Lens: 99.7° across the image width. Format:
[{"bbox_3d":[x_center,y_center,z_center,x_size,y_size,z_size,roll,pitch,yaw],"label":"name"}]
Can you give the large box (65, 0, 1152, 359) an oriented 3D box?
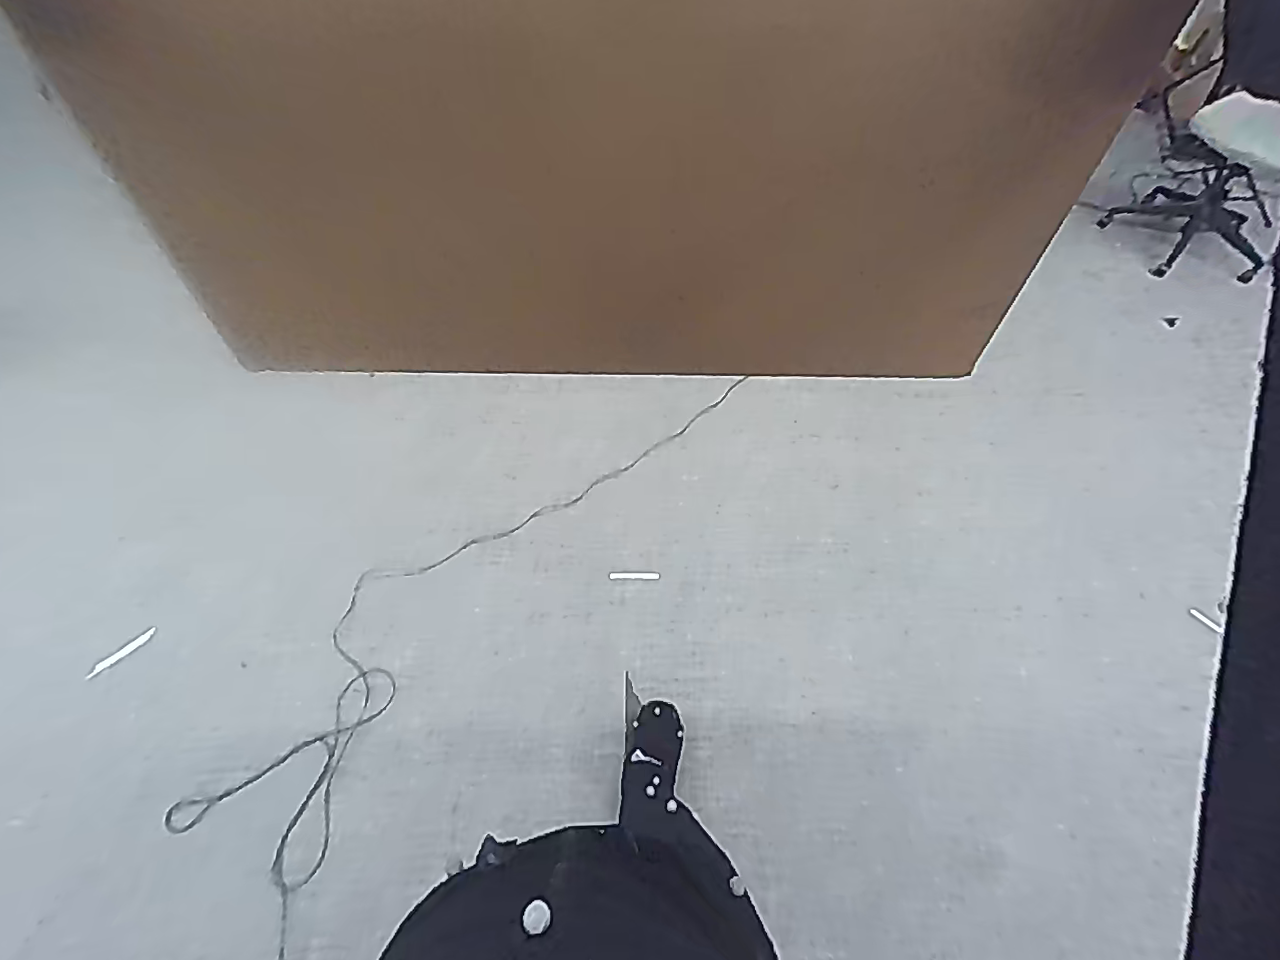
[{"bbox_3d":[-0.012,-0.280,0.297,0.408,0.320,0.320,0,50,-2],"label":"large box"}]
